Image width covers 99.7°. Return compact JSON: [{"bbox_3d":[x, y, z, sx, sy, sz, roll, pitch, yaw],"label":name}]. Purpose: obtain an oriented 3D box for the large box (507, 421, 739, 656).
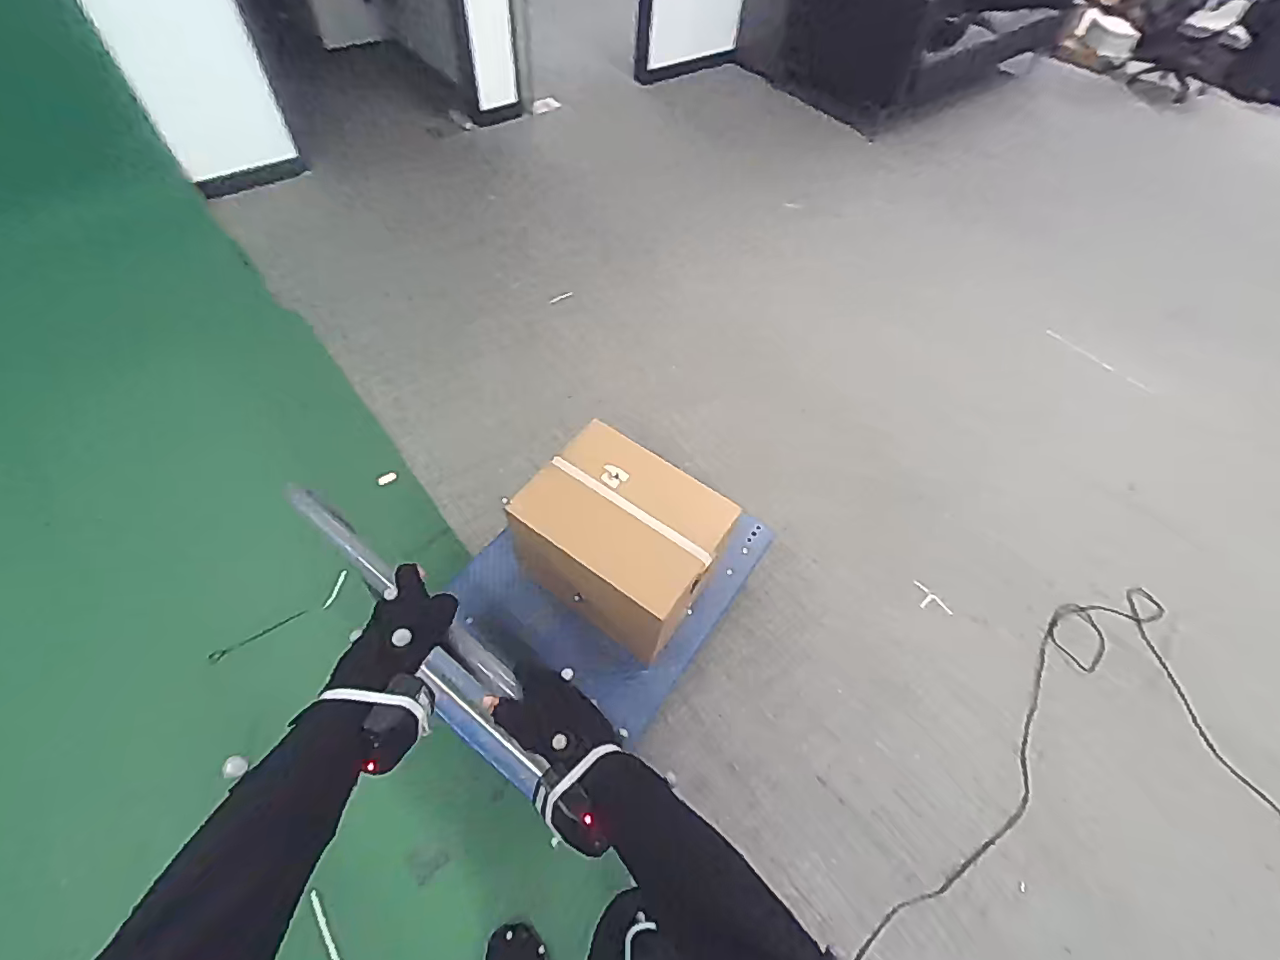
[{"bbox_3d":[-0.039,0.141,1.268,0.408,0.320,0.320,32,59,16],"label":"large box"}]
